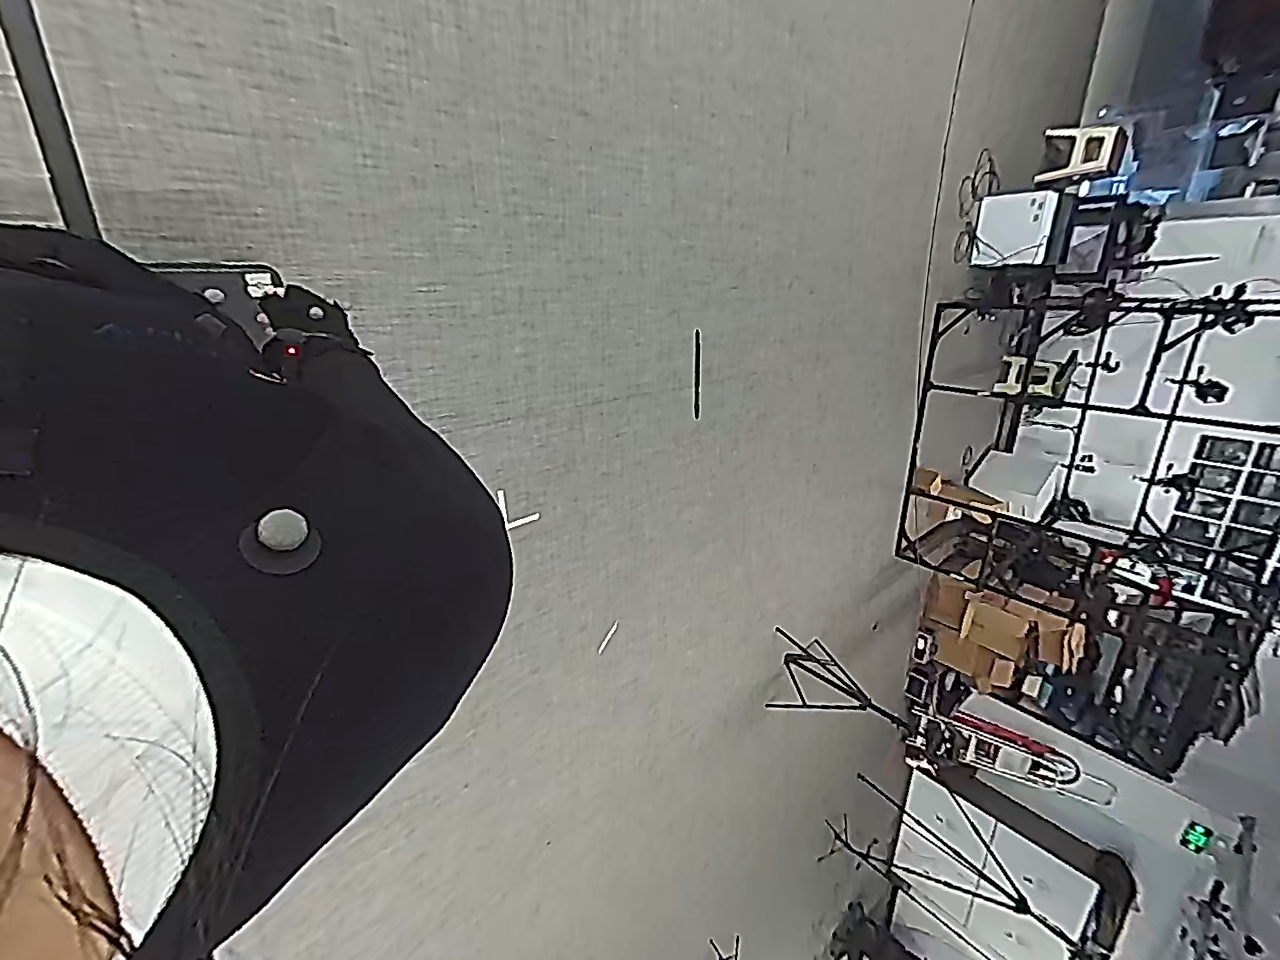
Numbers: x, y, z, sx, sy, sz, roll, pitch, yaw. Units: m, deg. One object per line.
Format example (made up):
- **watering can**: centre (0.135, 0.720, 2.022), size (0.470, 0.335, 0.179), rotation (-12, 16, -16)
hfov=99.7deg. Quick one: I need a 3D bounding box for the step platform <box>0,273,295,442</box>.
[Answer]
- **step platform**: centre (-1.100, -0.258, 1.084), size (0.684, 0.204, 0.286), rotation (-19, 118, -39)
